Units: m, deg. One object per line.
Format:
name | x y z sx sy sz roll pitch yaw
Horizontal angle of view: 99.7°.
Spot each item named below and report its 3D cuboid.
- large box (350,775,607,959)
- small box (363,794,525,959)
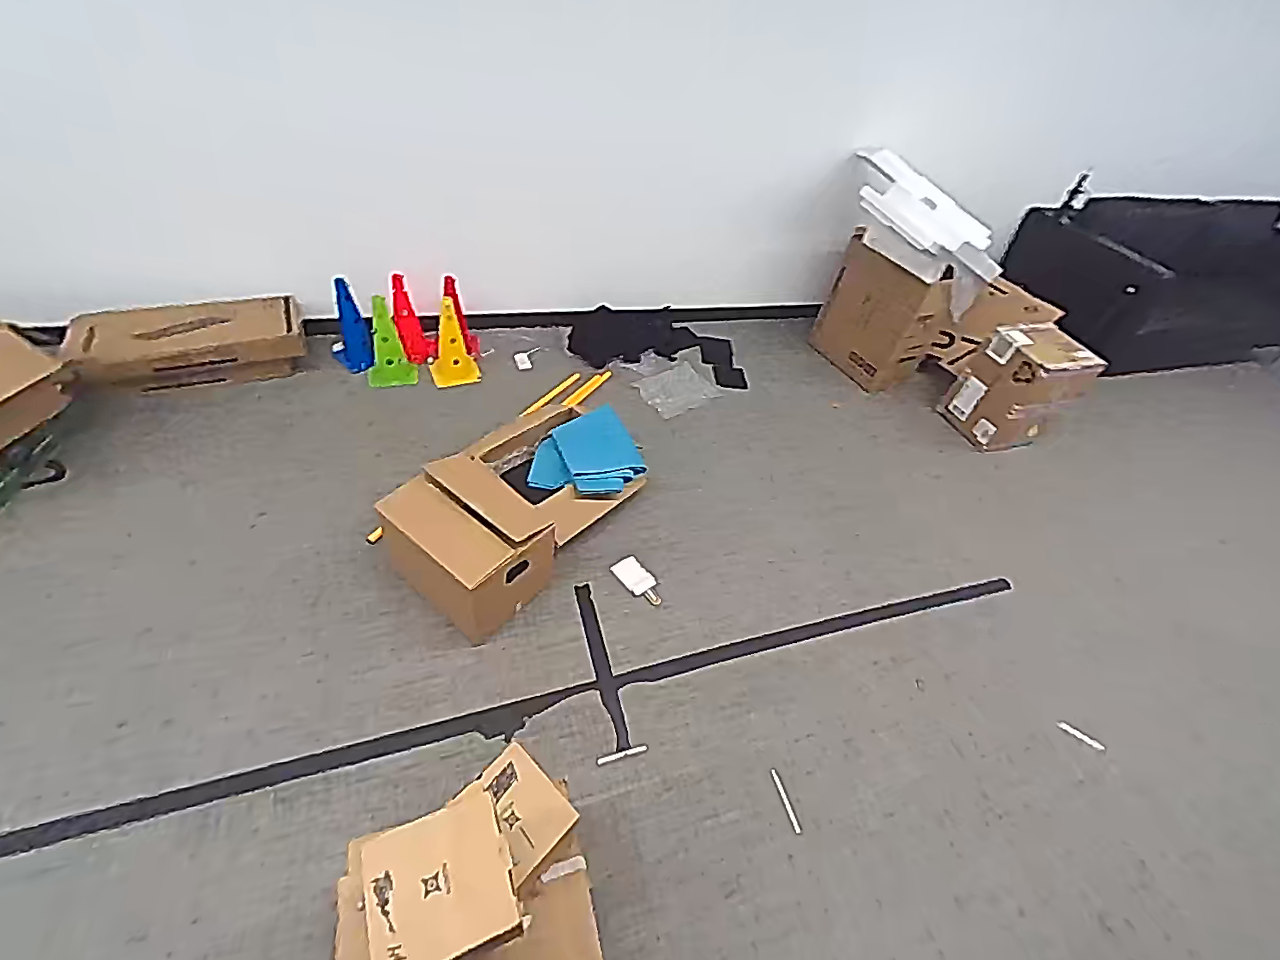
large box | -0.312 0.844 1.052 0.408 0.320 0.320 -8 49 -20
small box | -0.267 0.574 0.751 0.179 0.176 0.168 -13 50 -22
